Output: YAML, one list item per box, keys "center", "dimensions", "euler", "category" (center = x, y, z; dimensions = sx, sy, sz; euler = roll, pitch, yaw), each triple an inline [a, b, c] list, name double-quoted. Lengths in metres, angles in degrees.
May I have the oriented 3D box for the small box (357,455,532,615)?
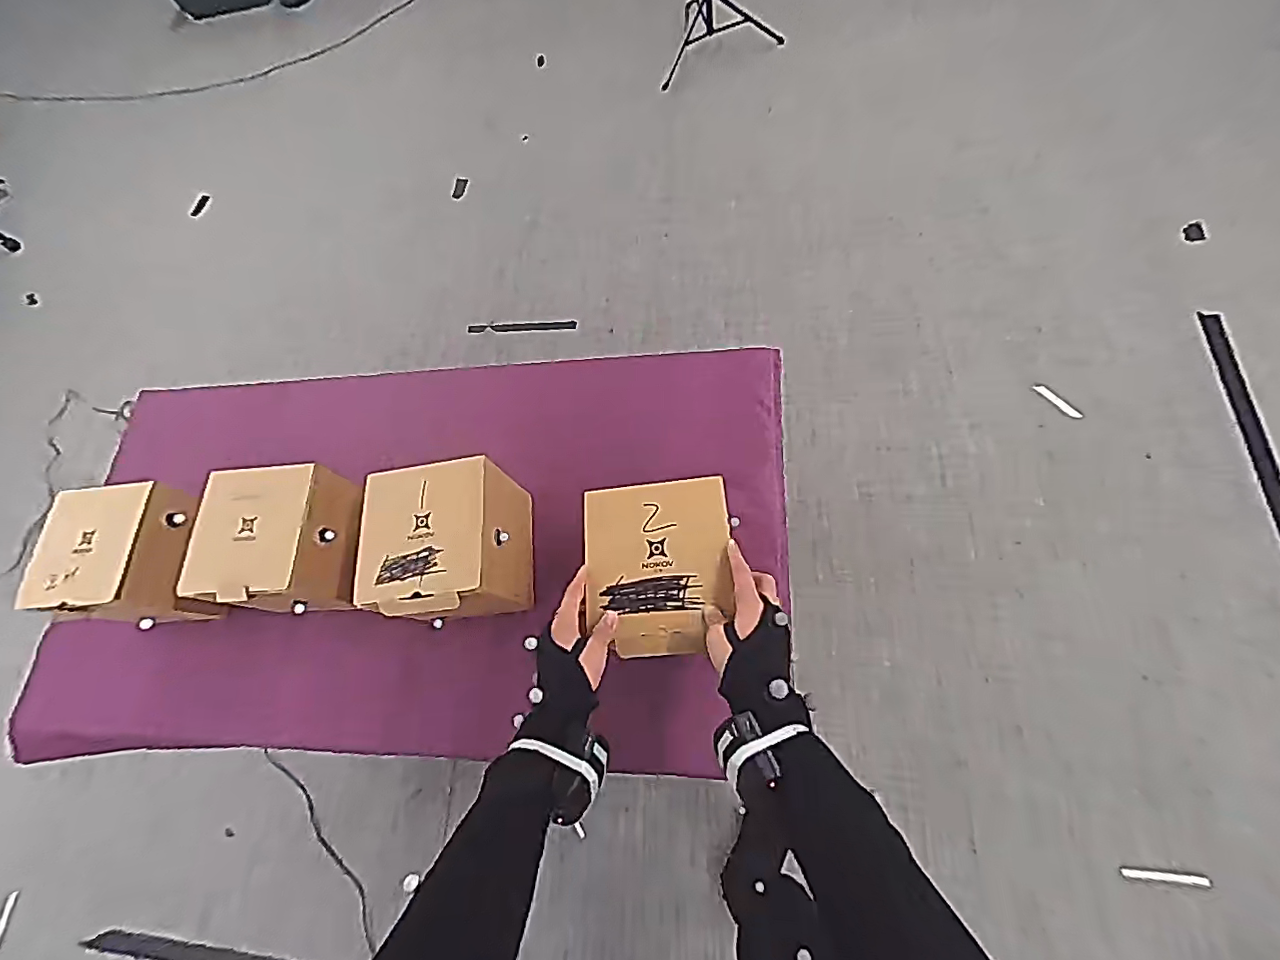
- center: [-0.255, 0.086, 0.743]
  dimensions: [0.168, 0.176, 0.179]
  euler: [-9, 68, 7]
  category: "small box"

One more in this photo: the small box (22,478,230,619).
- center: [-0.750, 0.112, 0.827]
  dimensions: [0.168, 0.176, 0.179]
  euler: [-5, 69, 9]
  category: "small box"

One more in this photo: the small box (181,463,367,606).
- center: [-0.503, 0.089, 0.791]
  dimensions: [0.168, 0.176, 0.179]
  euler: [-3, 69, 9]
  category: "small box"
